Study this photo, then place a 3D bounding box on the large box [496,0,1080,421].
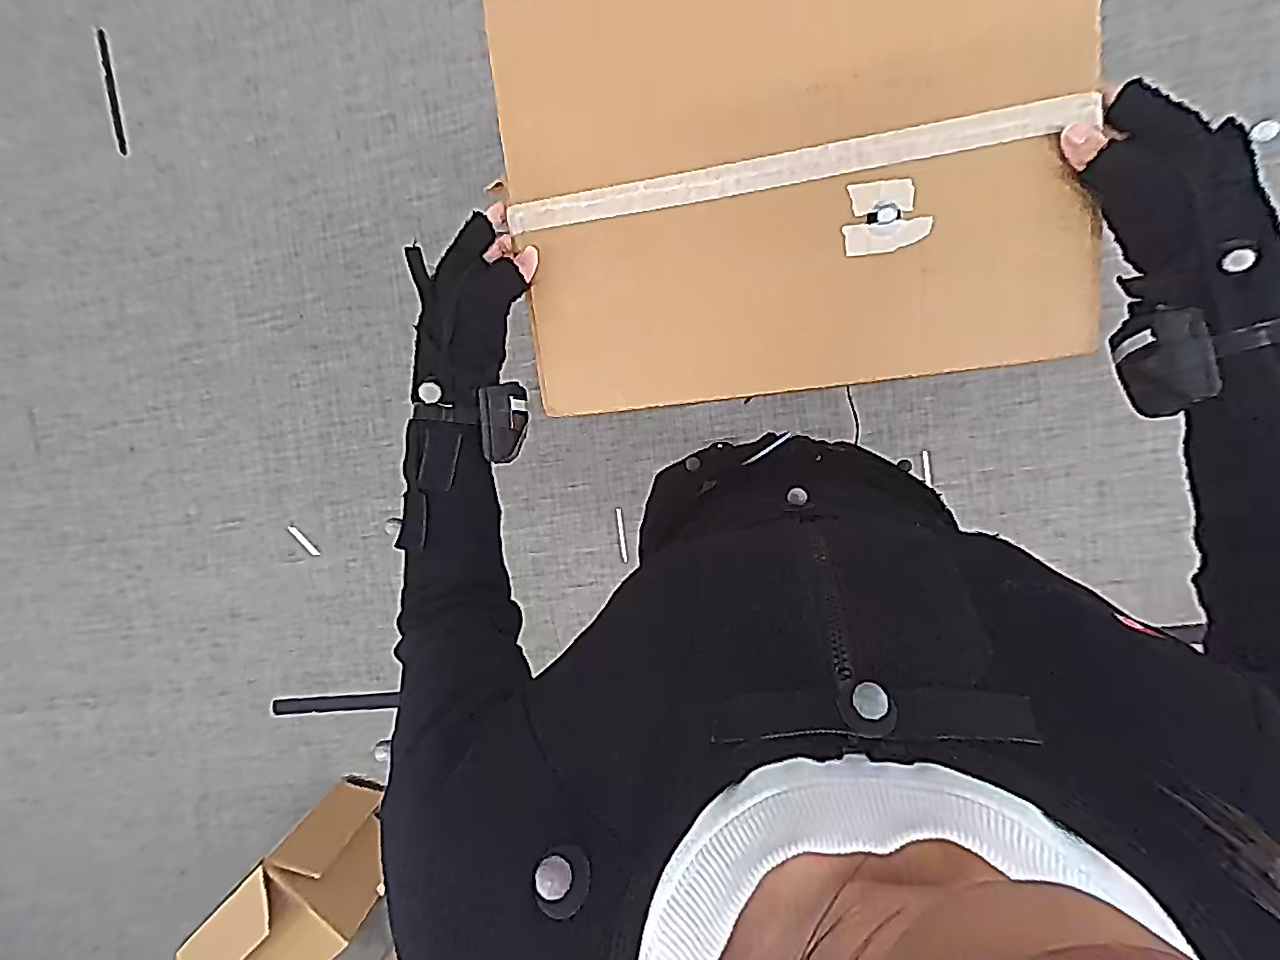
[{"bbox_3d":[0.123,-0.246,0.547,0.408,0.320,0.320,-6,99,9],"label":"large box"}]
